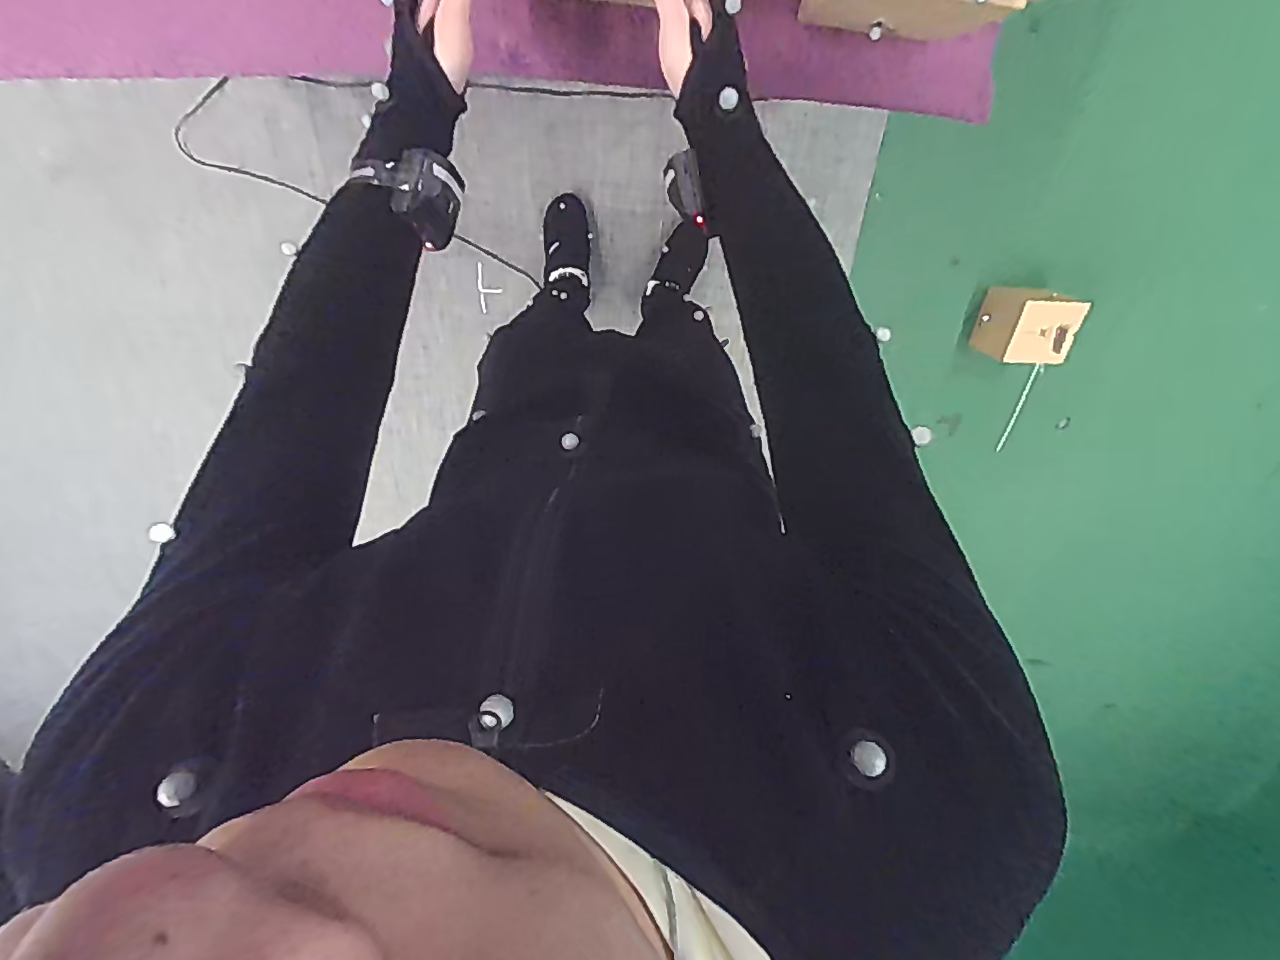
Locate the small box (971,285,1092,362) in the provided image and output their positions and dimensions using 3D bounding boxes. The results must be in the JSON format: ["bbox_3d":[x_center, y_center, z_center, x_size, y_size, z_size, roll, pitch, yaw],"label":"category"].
[{"bbox_3d":[1.061,-0.432,1.482,0.179,0.176,0.168,1,122,-3],"label":"small box"}]
